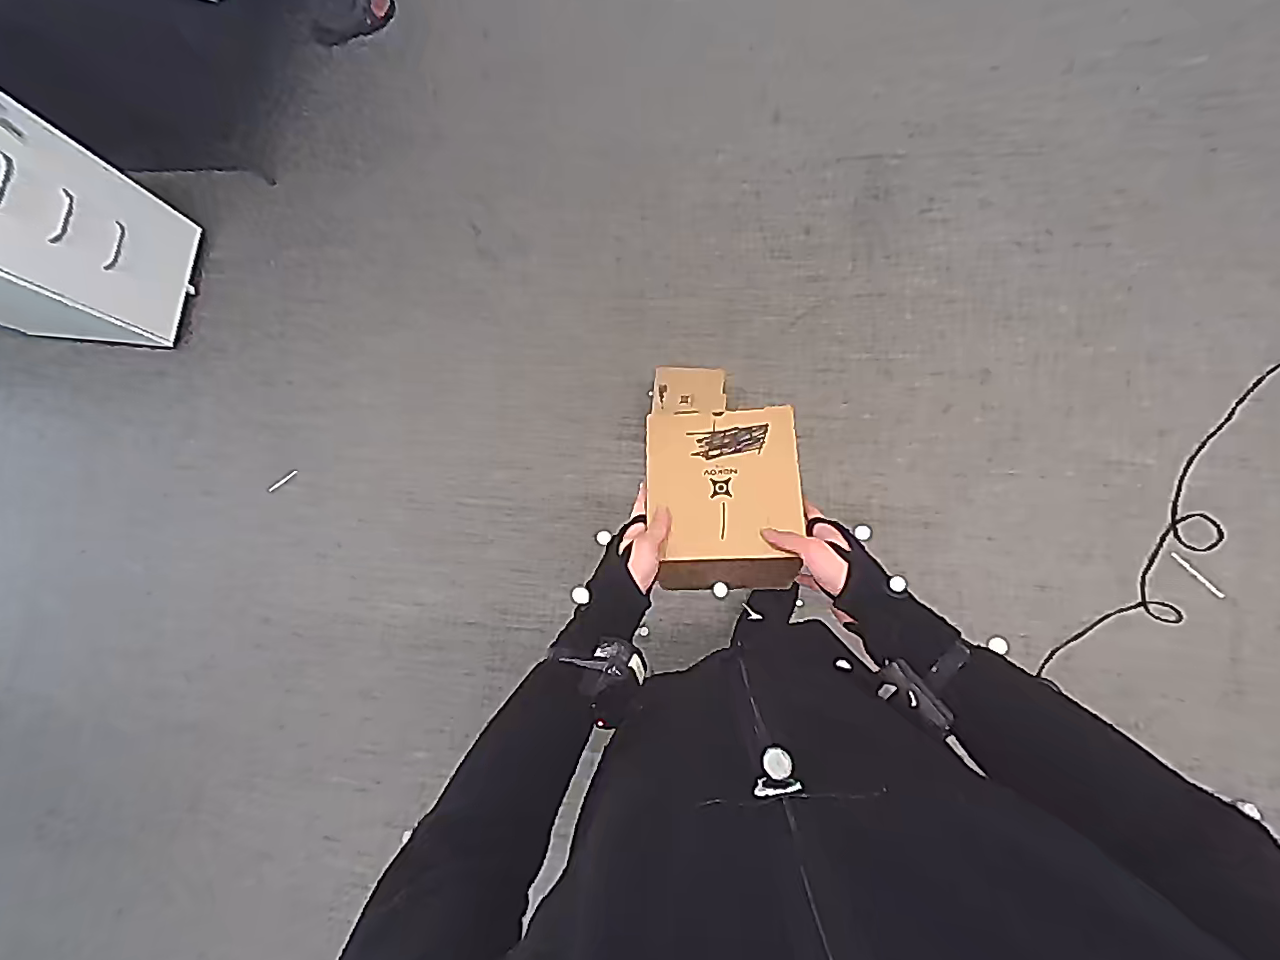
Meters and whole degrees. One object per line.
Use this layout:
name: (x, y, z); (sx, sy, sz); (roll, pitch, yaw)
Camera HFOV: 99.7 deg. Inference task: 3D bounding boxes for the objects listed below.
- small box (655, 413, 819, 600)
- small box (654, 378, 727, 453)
small box: (0.113, 0.037, 0.646); (0.168, 0.176, 0.179); (0, 67, 9)
small box: (0.132, -0.162, 1.425); (0.179, 0.176, 0.168); (2, 82, 6)
